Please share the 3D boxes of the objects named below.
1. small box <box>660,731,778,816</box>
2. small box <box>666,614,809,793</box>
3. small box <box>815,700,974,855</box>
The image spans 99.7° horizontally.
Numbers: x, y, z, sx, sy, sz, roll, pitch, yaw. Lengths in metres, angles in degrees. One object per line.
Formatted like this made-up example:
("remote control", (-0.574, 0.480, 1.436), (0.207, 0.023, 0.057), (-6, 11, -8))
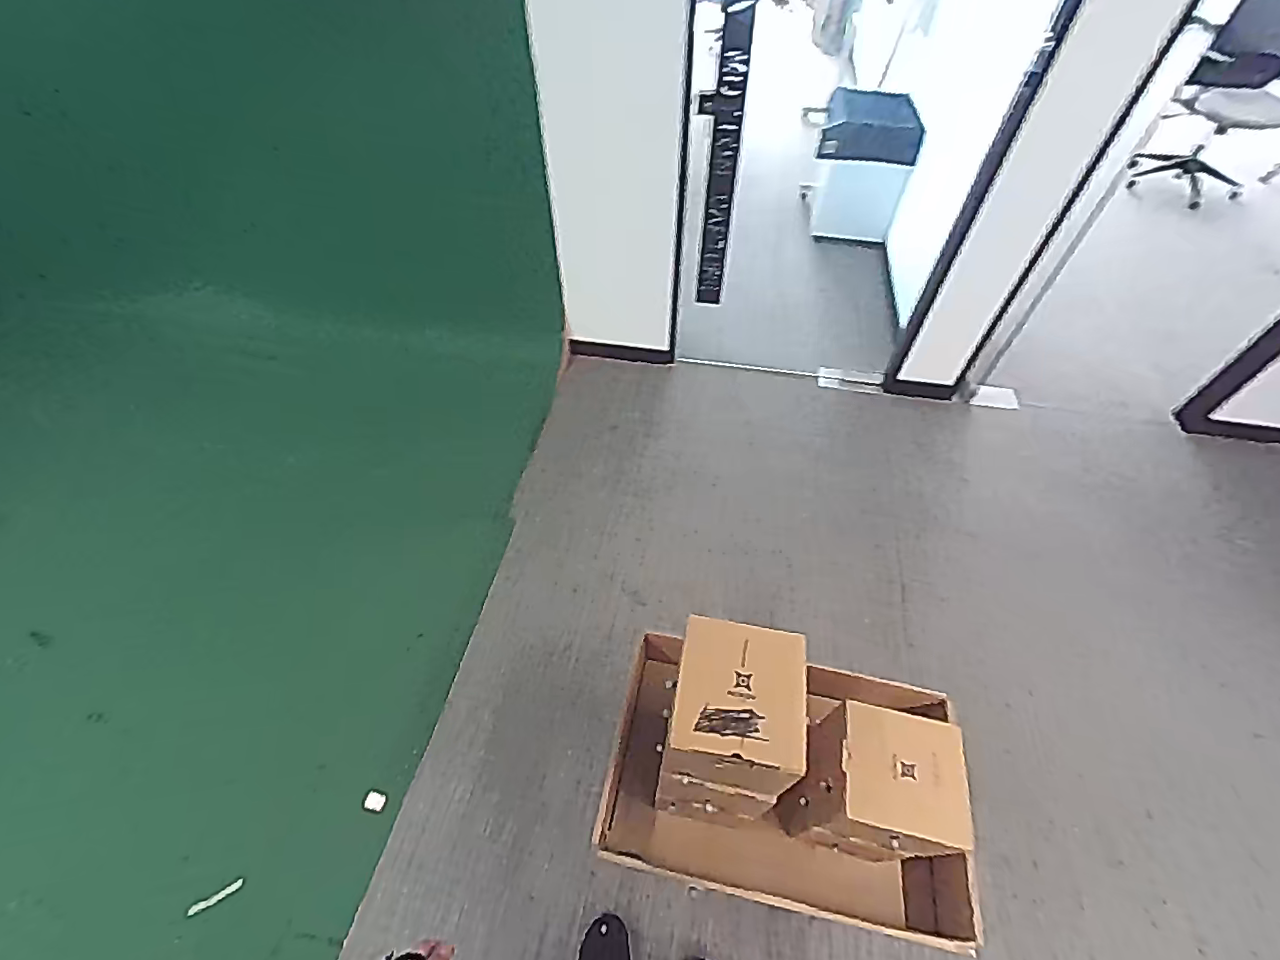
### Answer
("small box", (0.129, 0.421, 0.878), (0.168, 0.176, 0.179), (11, 53, 7))
("small box", (0.131, 0.315, 0.753), (0.168, 0.176, 0.179), (10, 52, 5))
("small box", (0.385, 0.471, 0.849), (0.179, 0.176, 0.168), (12, 54, 7))
